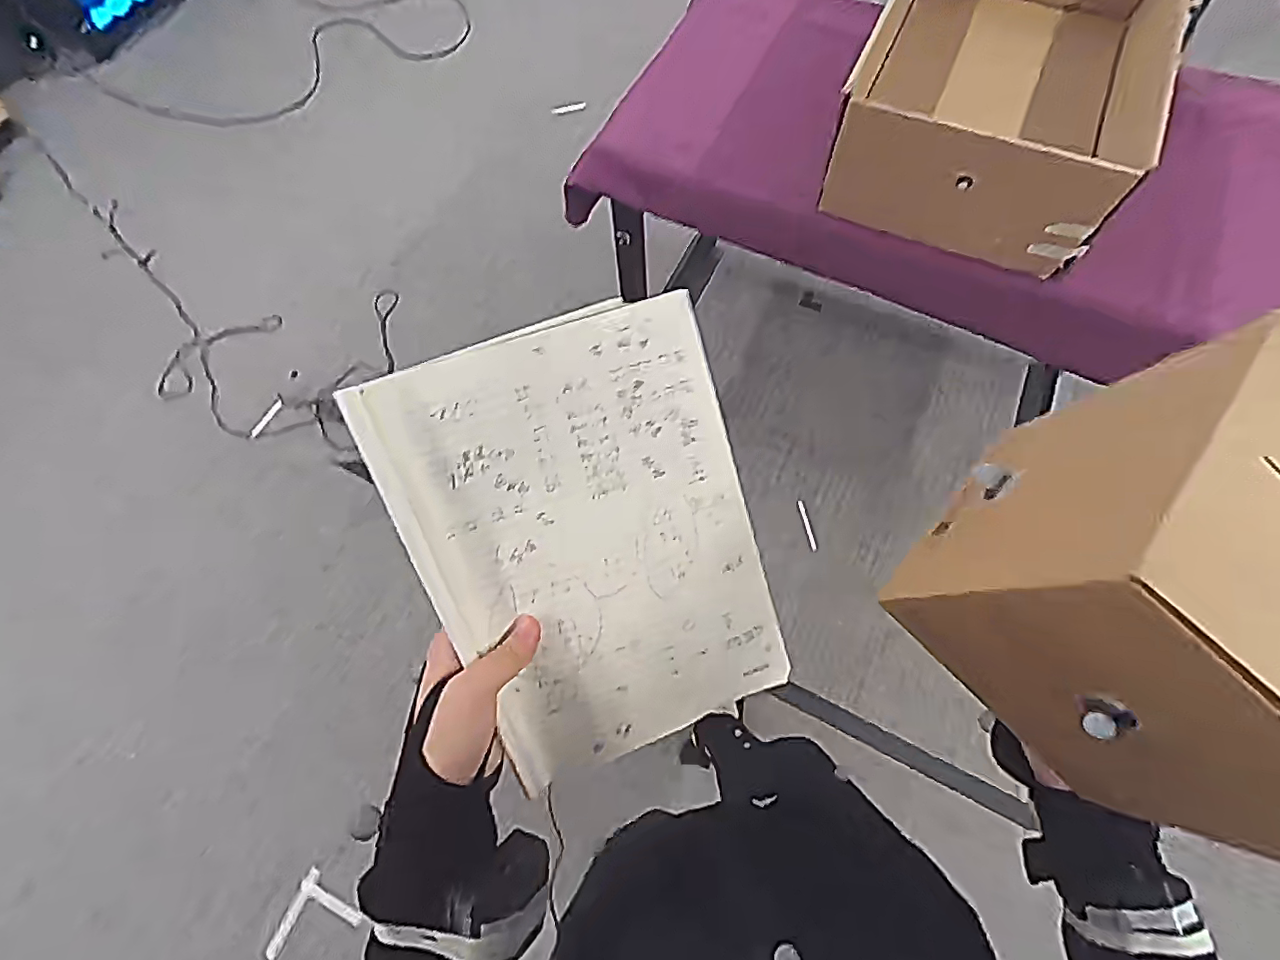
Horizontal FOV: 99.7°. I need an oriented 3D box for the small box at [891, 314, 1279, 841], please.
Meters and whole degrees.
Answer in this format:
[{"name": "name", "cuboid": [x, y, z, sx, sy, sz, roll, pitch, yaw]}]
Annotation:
[{"name": "small box", "cuboid": [0.280, 0.054, 0.281, 0.179, 0.176, 0.168, 44, 73, 5]}]
